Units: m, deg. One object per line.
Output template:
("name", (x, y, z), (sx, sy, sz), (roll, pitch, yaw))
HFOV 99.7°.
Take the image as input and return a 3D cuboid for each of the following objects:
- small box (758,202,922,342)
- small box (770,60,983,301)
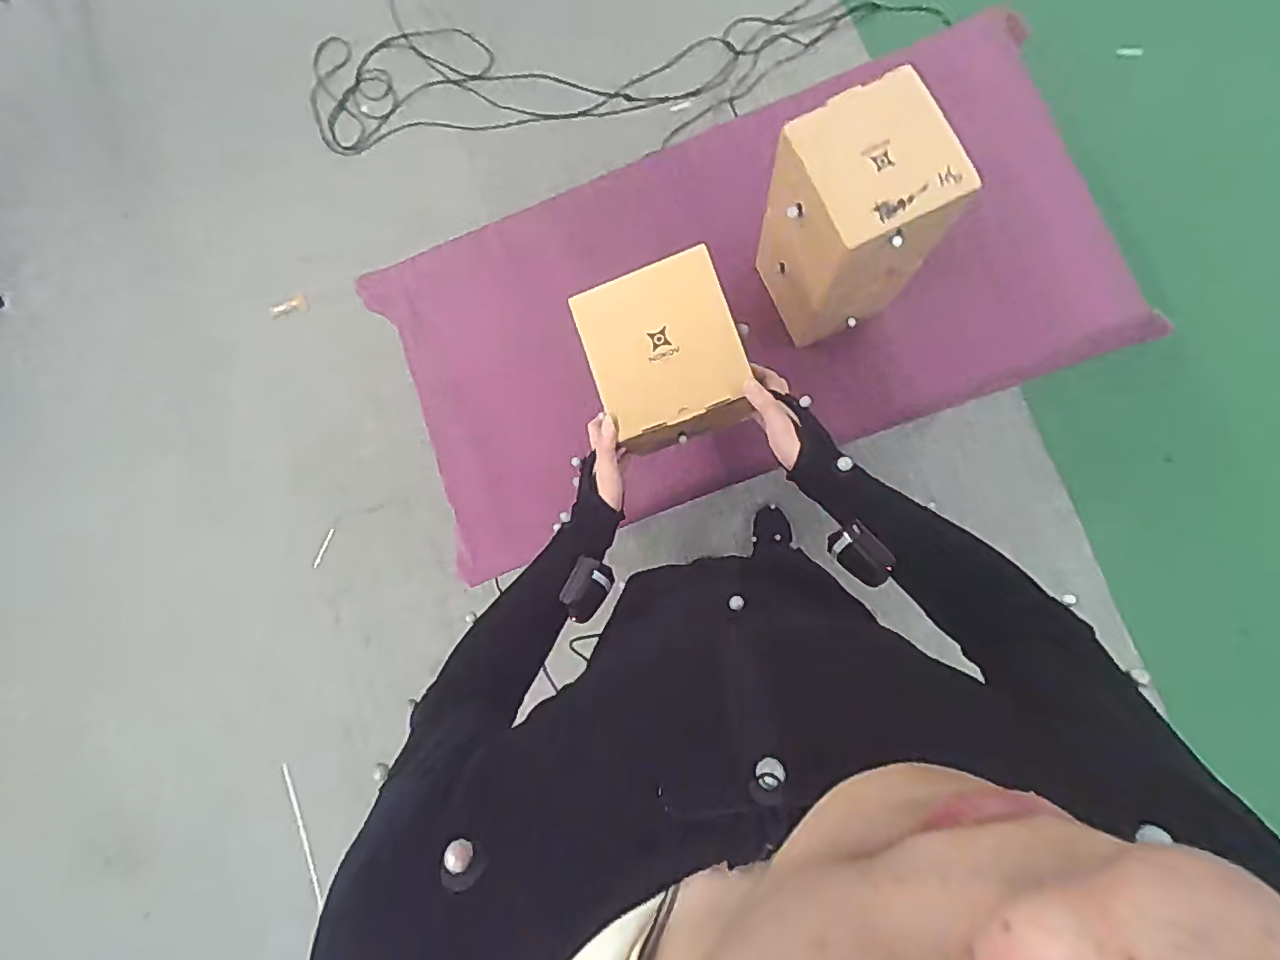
("small box", (0.300, -0.349, 0.855), (0.168, 0.176, 0.179), (-24, 82, 4))
("small box", (0.281, -0.367, 0.693), (0.168, 0.176, 0.179), (-25, 81, 4))
